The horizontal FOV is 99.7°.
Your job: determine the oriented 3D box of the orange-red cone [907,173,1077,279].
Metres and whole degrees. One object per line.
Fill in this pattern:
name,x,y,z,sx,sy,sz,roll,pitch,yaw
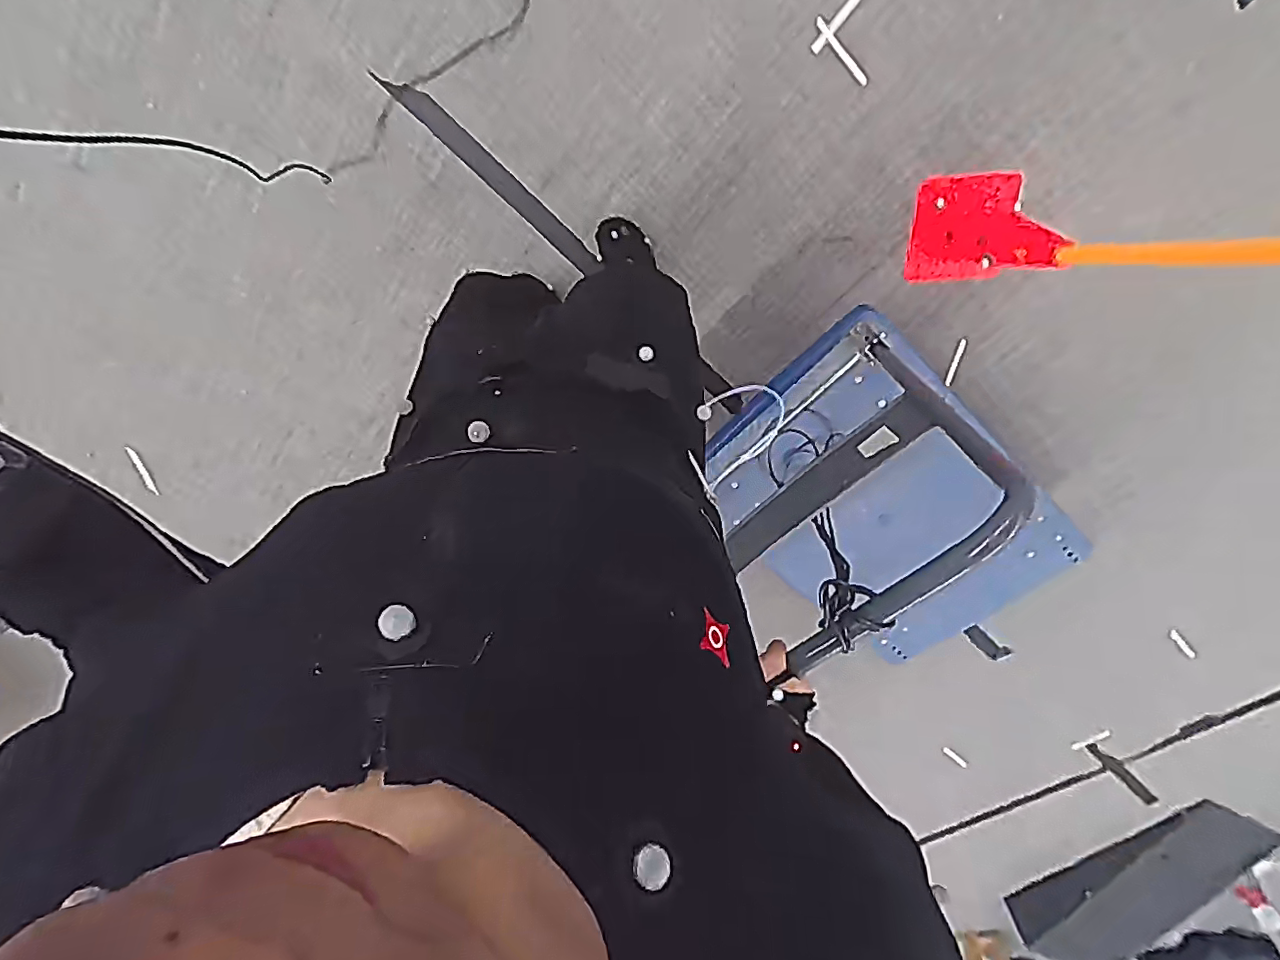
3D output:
orange-red cone,0.655,-0.429,0.967,0.198,0.360,0.199,0,122,5
